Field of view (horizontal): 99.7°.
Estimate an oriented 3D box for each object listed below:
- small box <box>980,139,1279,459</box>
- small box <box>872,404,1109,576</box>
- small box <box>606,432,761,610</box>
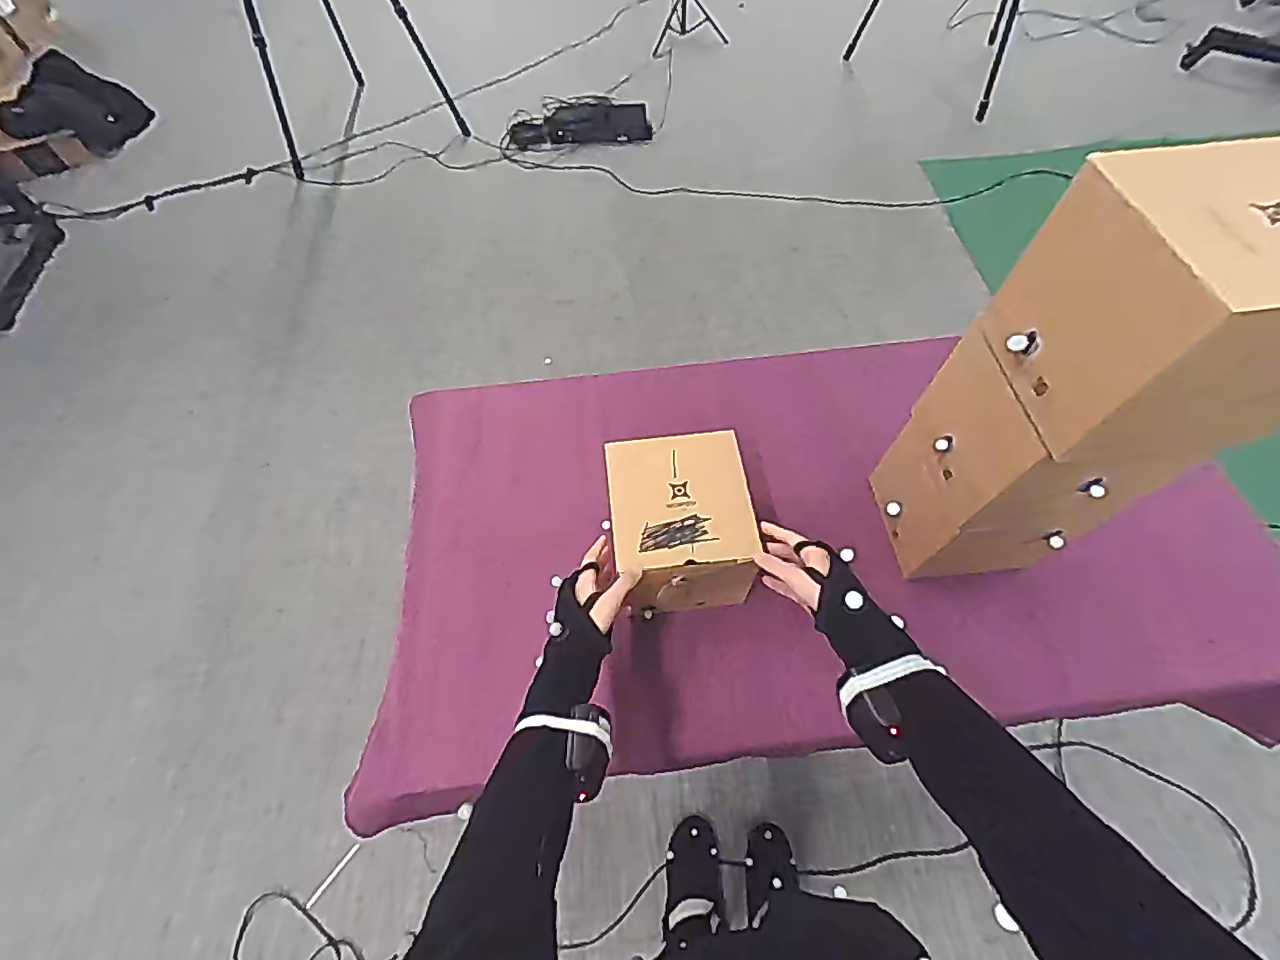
[{"bbox_3d":[0.418,-0.132,0.423,0.179,0.176,0.168,-6,60,-1],"label":"small box"},{"bbox_3d":[0.440,0.018,0.714,0.179,0.176,0.168,-5,60,-1],"label":"small box"},{"bbox_3d":[0.049,0.062,0.704,0.168,0.176,0.179,-6,60,-2],"label":"small box"}]
